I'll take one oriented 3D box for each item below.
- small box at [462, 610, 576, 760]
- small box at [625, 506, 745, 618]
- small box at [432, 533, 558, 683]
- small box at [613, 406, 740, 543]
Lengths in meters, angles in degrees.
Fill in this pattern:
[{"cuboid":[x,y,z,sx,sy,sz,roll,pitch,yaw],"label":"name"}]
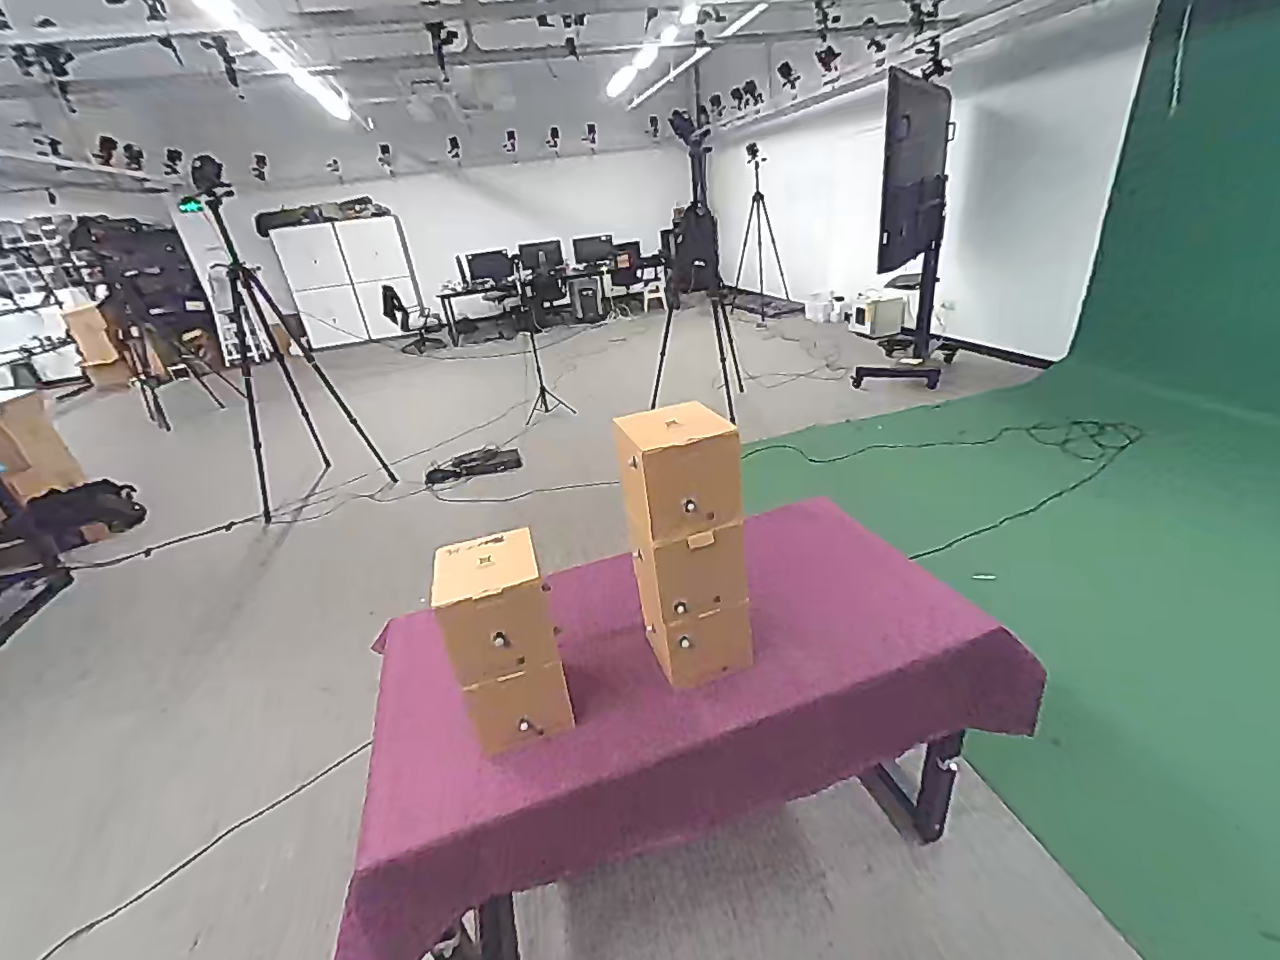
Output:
[{"cuboid":[-0.222,0.368,0.993,0.168,0.176,0.179,-14,27,-11],"label":"small box"},{"cuboid":[0.084,0.135,1.003,0.168,0.176,0.179,-15,25,-13],"label":"small box"},{"cuboid":[-0.244,0.220,0.924,0.168,0.176,0.179,-13,27,-12],"label":"small box"},{"cuboid":[0.062,-0.014,0.941,0.168,0.176,0.179,-15,27,-14],"label":"small box"}]
